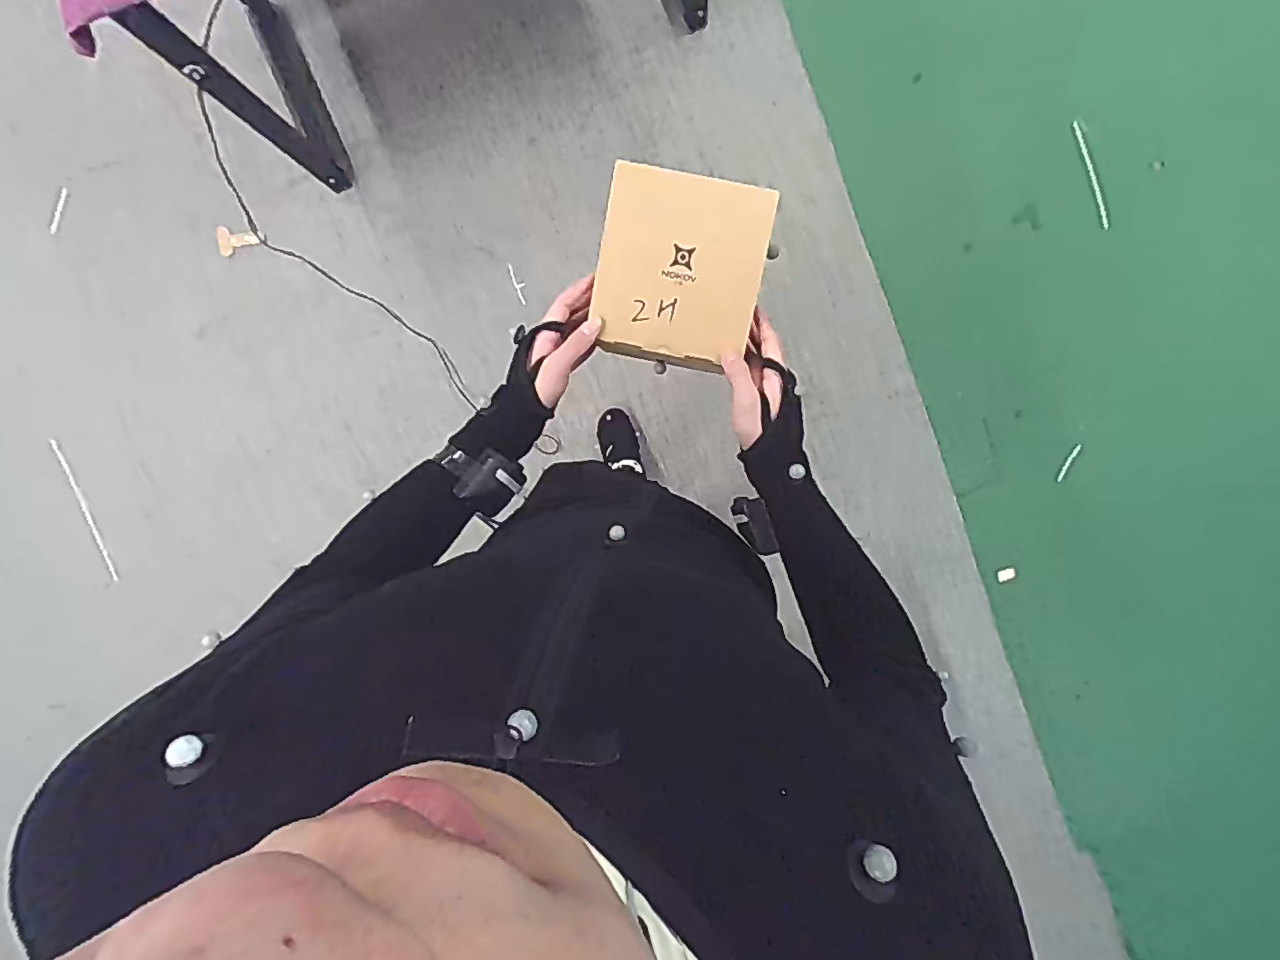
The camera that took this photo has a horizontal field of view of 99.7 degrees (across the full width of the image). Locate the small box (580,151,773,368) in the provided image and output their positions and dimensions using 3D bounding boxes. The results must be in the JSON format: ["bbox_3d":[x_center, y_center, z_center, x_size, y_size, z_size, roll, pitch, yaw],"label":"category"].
[{"bbox_3d":[0.037,-0.233,0.616,0.168,0.176,0.179,11,99,1],"label":"small box"}]
